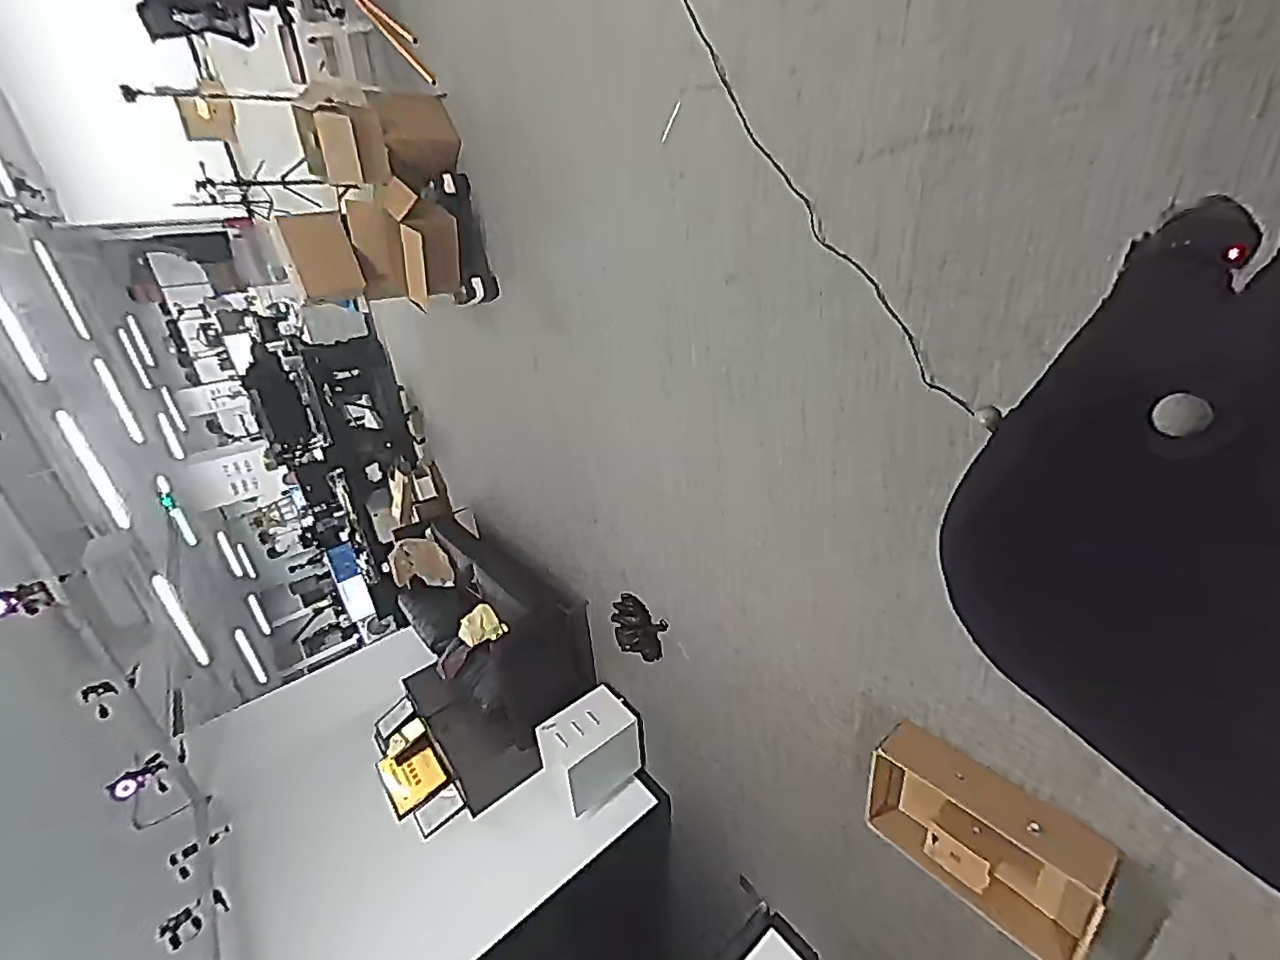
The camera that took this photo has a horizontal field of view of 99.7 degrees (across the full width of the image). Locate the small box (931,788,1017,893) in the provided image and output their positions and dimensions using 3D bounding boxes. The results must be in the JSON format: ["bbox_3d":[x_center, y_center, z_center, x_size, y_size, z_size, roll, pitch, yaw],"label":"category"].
[{"bbox_3d":[1.039,1.109,1.679,0.179,0.176,0.168,21,128,48],"label":"small box"}]
